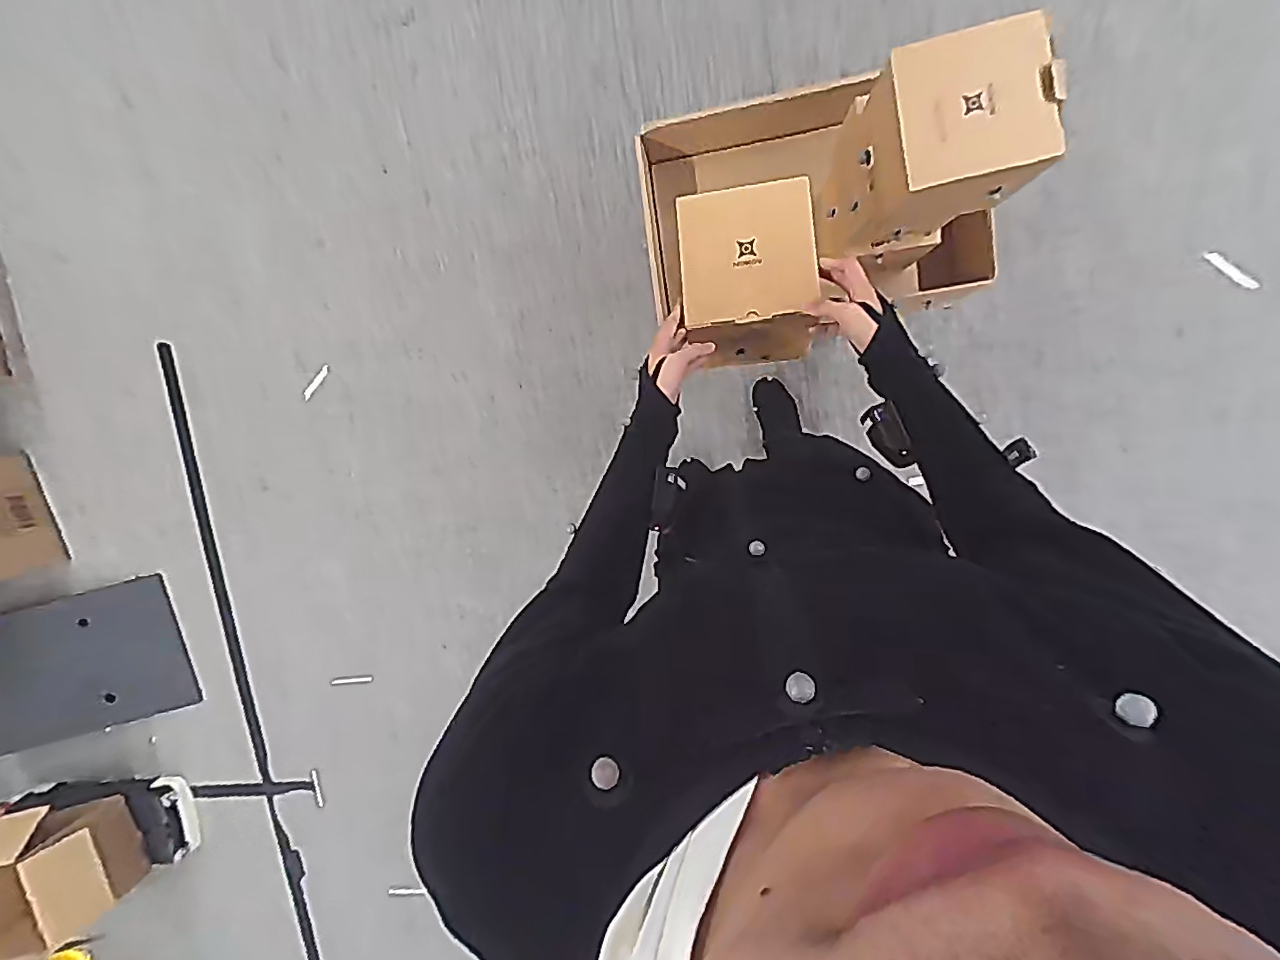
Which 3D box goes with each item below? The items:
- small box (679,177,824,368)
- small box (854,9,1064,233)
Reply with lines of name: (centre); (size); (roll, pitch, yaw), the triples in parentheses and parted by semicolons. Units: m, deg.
small box: (0.144, -0.268, 0.736); (0.168, 0.176, 0.179); (-5, 83, 9)
small box: (0.402, -0.449, 0.708); (0.179, 0.176, 0.168); (-10, 95, 8)
